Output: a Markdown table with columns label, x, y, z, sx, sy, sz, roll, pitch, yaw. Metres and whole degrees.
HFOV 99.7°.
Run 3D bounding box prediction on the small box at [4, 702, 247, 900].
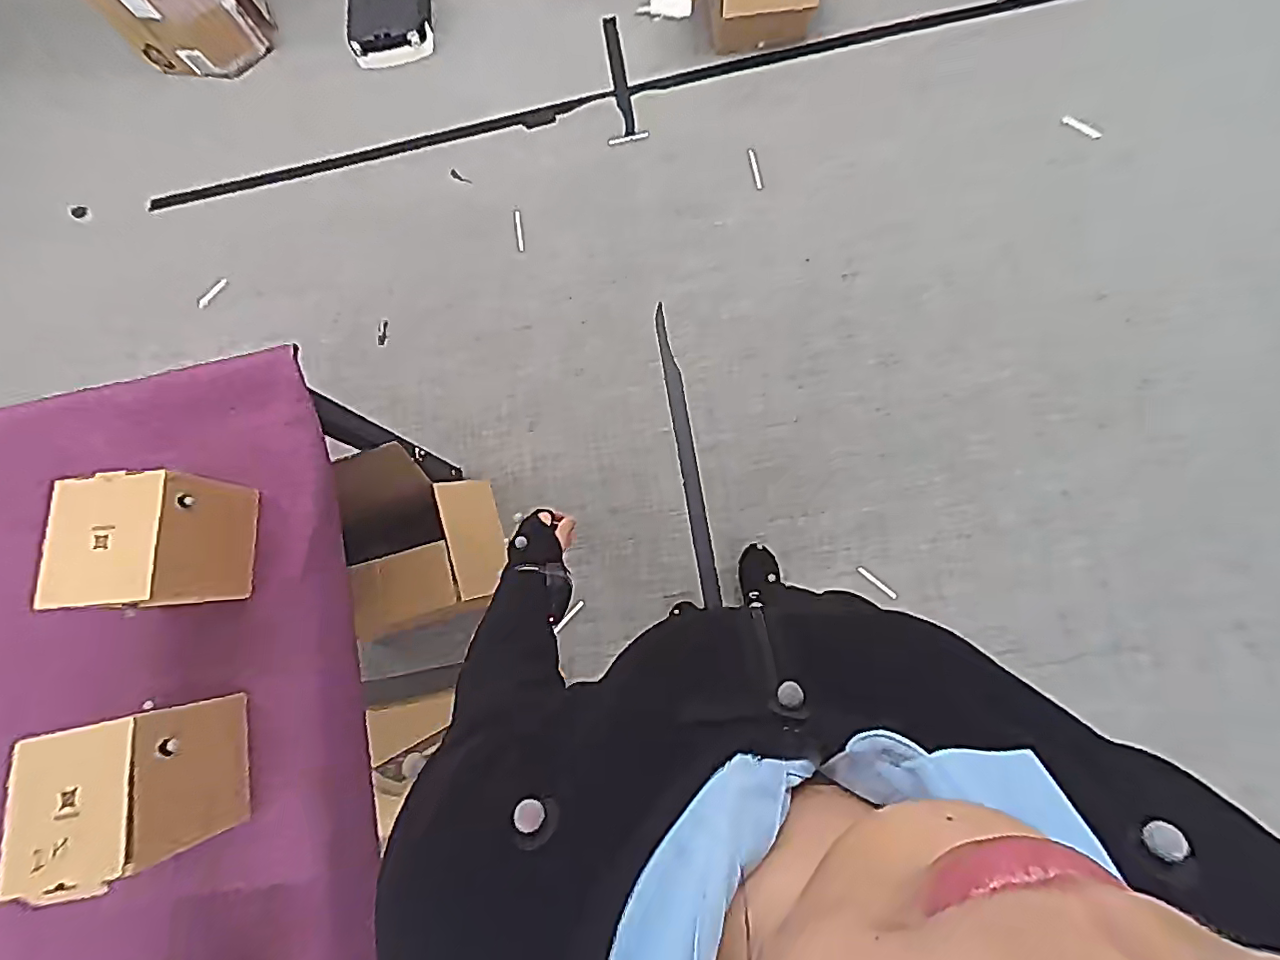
| label | x | y | z | sx | sy | sz | roll | pitch | yaw |
| --- | --- | --- | --- | --- | --- | --- | --- | --- | --- |
| small box | -0.661 | 0.404 | 0.716 | 0.168 | 0.176 | 0.179 | -13 | 77 | 5 |

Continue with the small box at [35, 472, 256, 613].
| label | x | y | z | sx | sy | sz | roll | pitch | yaw |
| --- | --- | --- | --- | --- | --- | --- | --- | --- | --- |
| small box | -0.702 | 0.097 | 0.789 | 0.168 | 0.176 | 0.179 | -6 | 77 | 4 |
